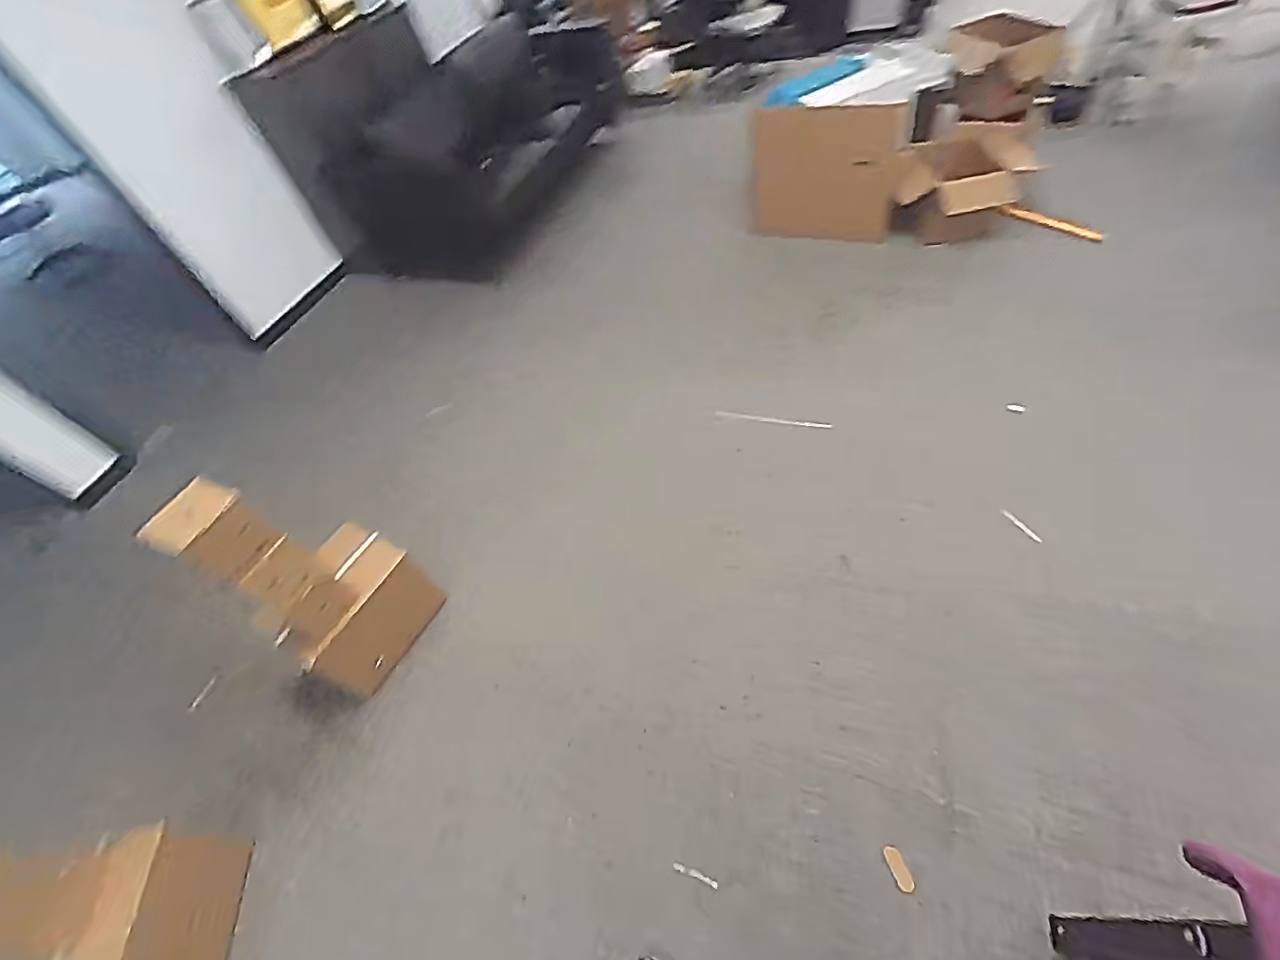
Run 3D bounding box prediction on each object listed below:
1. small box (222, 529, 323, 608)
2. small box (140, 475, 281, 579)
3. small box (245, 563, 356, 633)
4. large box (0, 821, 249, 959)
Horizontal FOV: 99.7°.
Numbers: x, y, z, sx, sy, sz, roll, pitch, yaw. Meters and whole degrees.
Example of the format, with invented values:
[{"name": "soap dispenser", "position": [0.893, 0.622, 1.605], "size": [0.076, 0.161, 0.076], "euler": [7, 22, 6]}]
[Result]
[{"name": "small box", "position": [-0.994, 0.218, 1.434], "size": [0.179, 0.176, 0.168], "euler": [16, 58, 24]}, {"name": "small box", "position": [-1.028, 0.118, 1.310], "size": [0.179, 0.176, 0.168], "euler": [15, 56, 24]}, {"name": "small box", "position": [-0.968, 0.319, 1.559], "size": [0.179, 0.176, 0.168], "euler": [18, 57, 23]}, {"name": "large box", "position": [-1.246, 1.107, 1.314], "size": [0.320, 0.320, 0.408], "euler": [-16, 51, 2]}]
